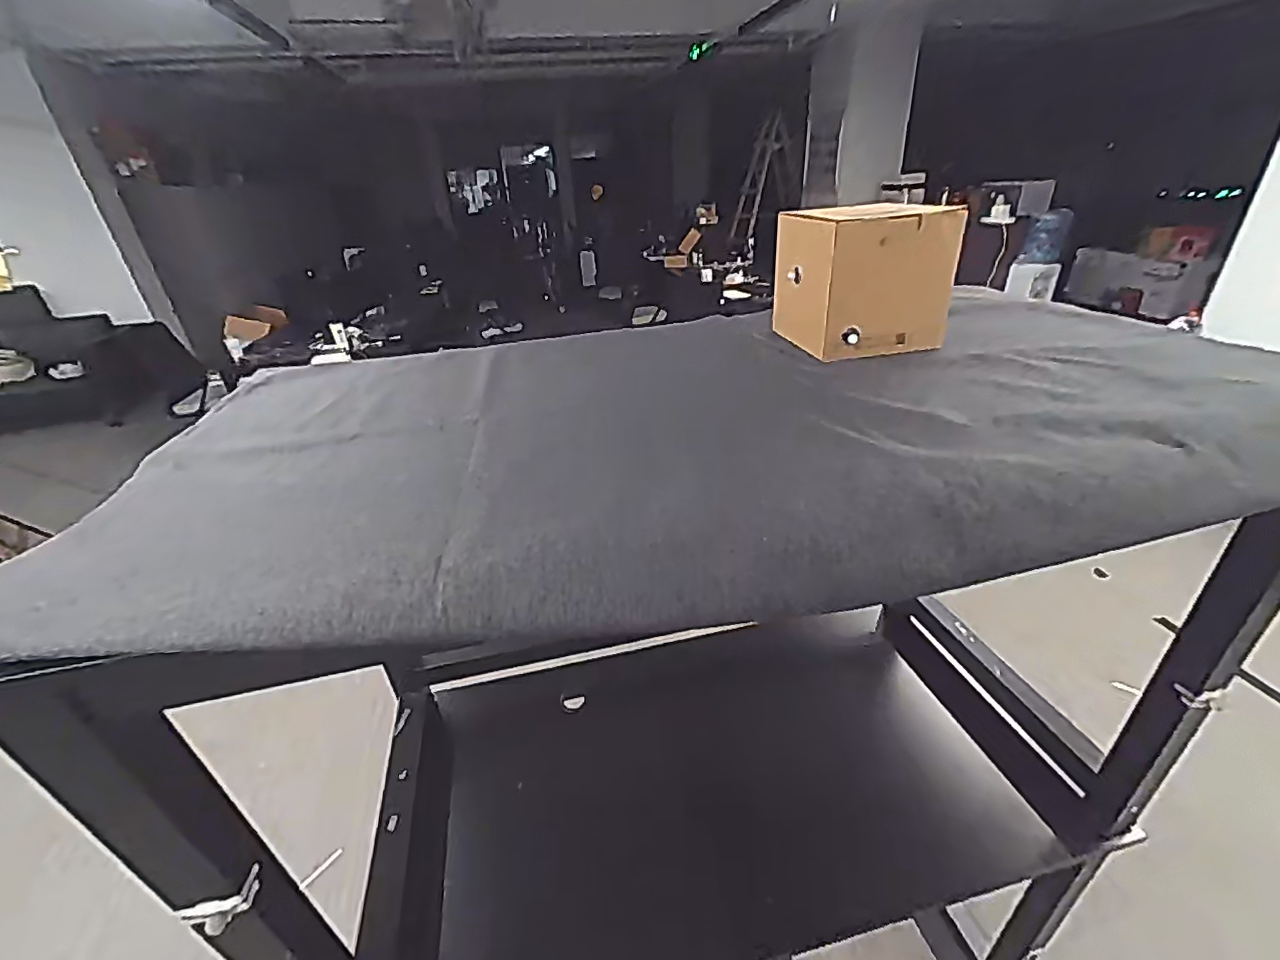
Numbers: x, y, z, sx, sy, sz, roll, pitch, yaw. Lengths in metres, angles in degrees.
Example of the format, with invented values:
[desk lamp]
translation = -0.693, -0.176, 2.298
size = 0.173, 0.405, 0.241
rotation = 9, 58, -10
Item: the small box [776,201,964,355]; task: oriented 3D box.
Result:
[small box]
translation = 0.294, -0.273, 0.732
size = 0.168, 0.176, 0.179
rotation = -8, 29, -6
